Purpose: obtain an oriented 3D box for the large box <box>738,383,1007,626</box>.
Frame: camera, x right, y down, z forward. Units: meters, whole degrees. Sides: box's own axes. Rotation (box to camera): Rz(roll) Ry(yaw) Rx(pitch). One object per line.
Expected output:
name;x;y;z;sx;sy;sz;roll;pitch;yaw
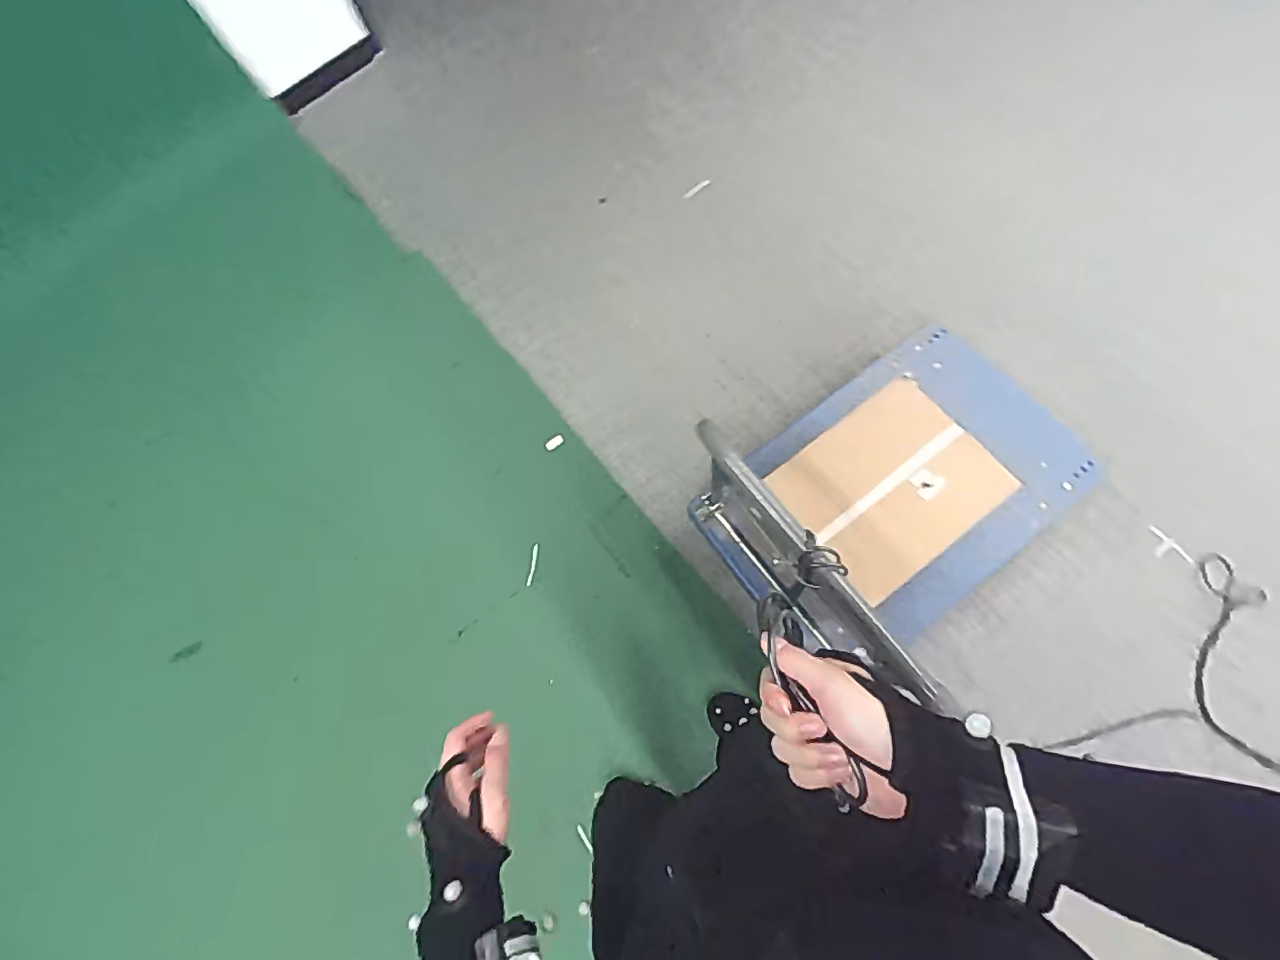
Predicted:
large box;0.477;0.073;1.202;0.408;0.320;0.320;-37;74;-7
